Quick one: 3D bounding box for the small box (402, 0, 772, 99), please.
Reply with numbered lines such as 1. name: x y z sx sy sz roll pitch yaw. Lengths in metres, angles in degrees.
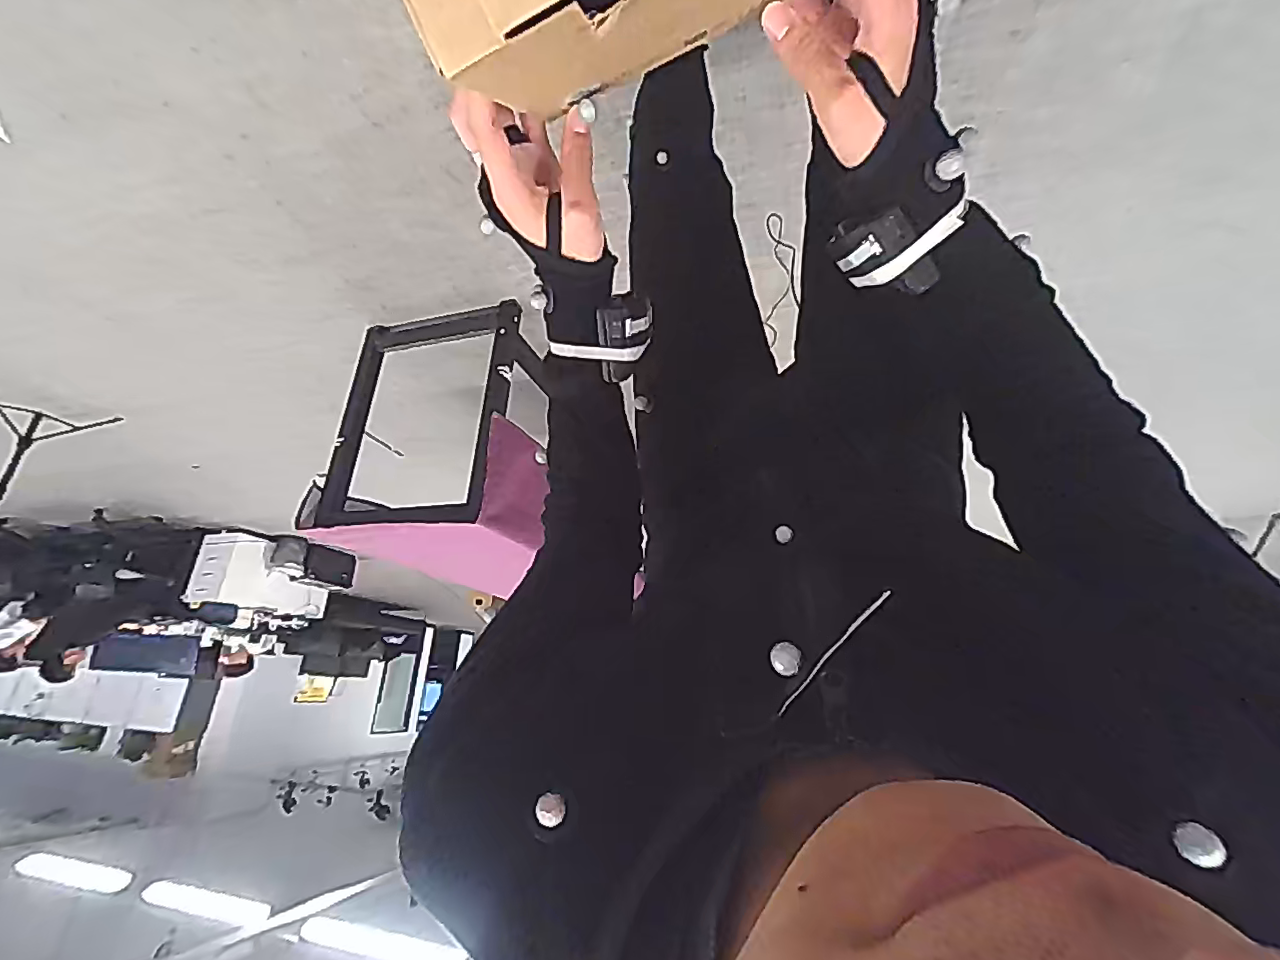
1. small box: -0.024 -0.286 0.219 0.168 0.176 0.179 -17 114 16
